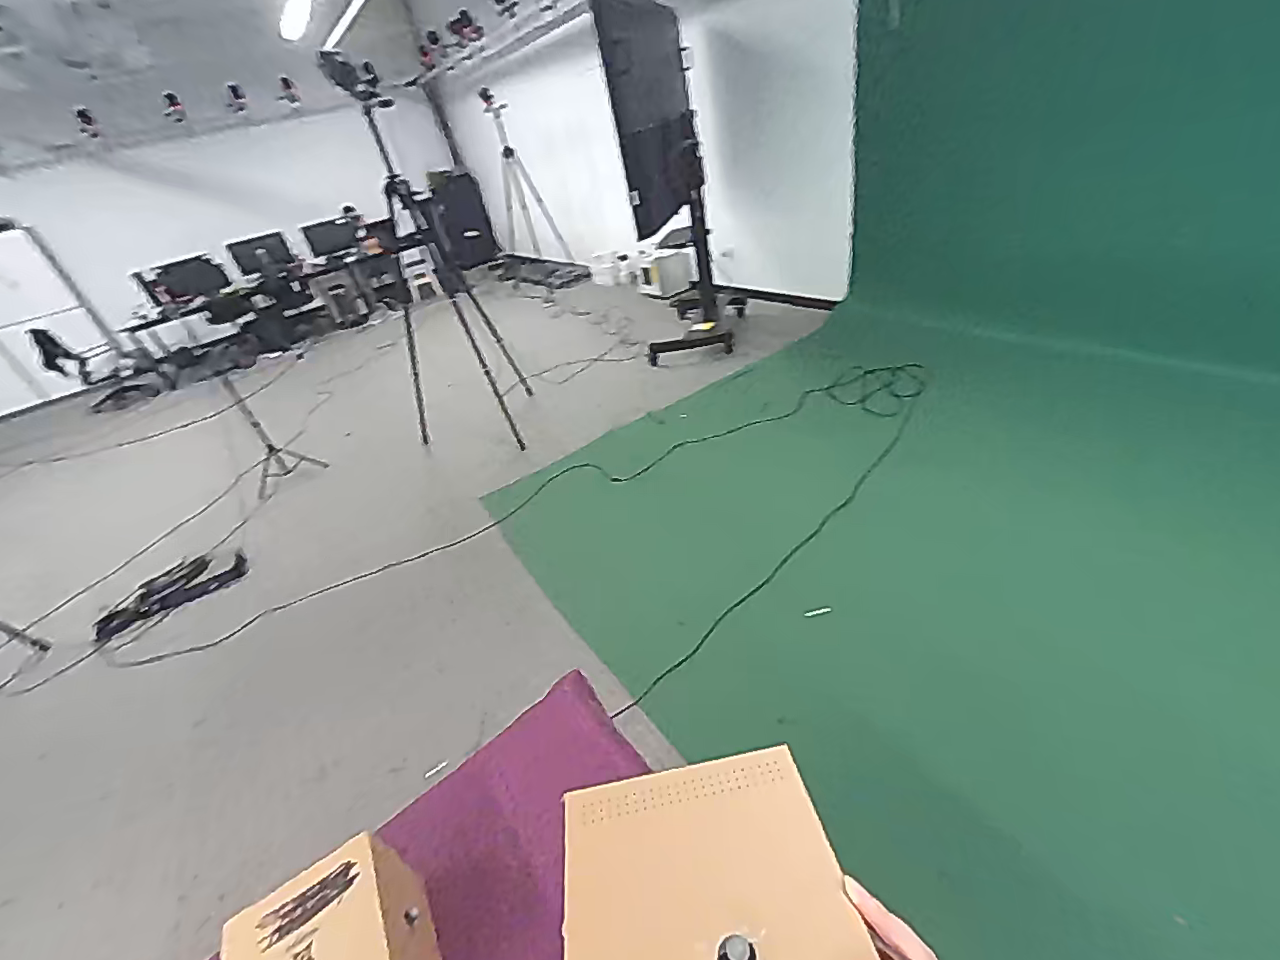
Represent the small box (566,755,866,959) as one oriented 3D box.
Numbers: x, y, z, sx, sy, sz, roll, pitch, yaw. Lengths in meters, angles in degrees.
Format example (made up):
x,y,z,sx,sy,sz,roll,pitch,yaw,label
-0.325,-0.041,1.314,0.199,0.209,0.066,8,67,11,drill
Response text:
x,y,z,sx,sy,sz,roll,pitch,yaw,label
0.048,0.323,0.374,0.179,0.168,0.176,-11,25,-2,small box
